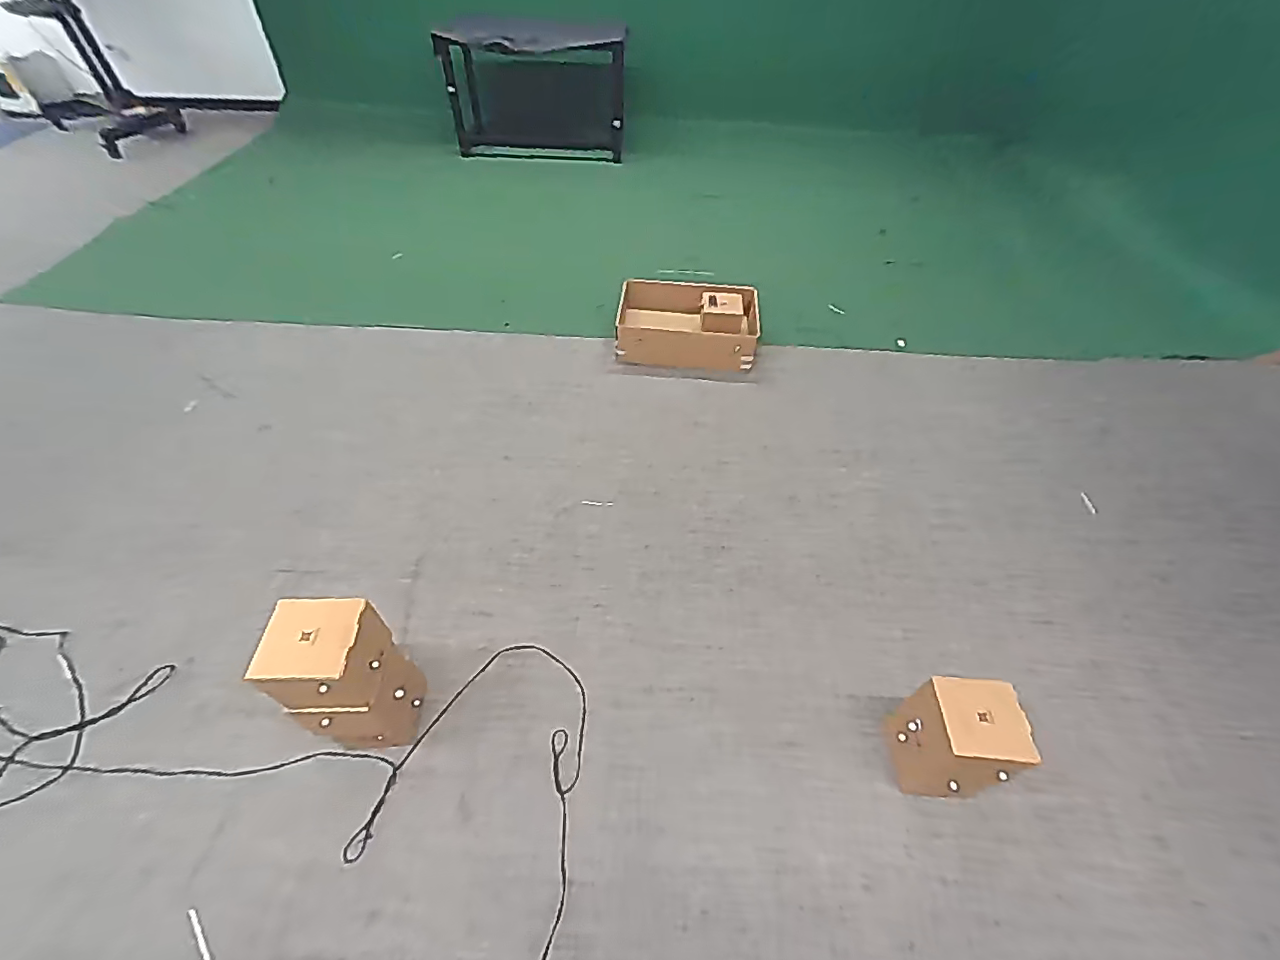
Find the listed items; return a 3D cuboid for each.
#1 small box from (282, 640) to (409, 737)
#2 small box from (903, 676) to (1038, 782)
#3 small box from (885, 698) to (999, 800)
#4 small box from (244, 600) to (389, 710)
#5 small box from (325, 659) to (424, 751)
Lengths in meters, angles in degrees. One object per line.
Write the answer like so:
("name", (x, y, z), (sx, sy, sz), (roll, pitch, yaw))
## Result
("small box", (-0.652, 0.471, 1.221), (0.179, 0.176, 0.168), (0, 49, -2))
("small box", (0.713, 0.551, 1.189), (0.179, 0.176, 0.168), (3, 47, 2))
("small box", (0.720, 0.655, 1.315), (0.168, 0.176, 0.179), (3, 48, 2))
("small box", (-0.645, 0.359, 1.103), (0.179, 0.176, 0.168), (0, 49, -3))
("small box", (-0.659, 0.565, 1.356), (0.179, 0.176, 0.168), (-3, 48, -4))
